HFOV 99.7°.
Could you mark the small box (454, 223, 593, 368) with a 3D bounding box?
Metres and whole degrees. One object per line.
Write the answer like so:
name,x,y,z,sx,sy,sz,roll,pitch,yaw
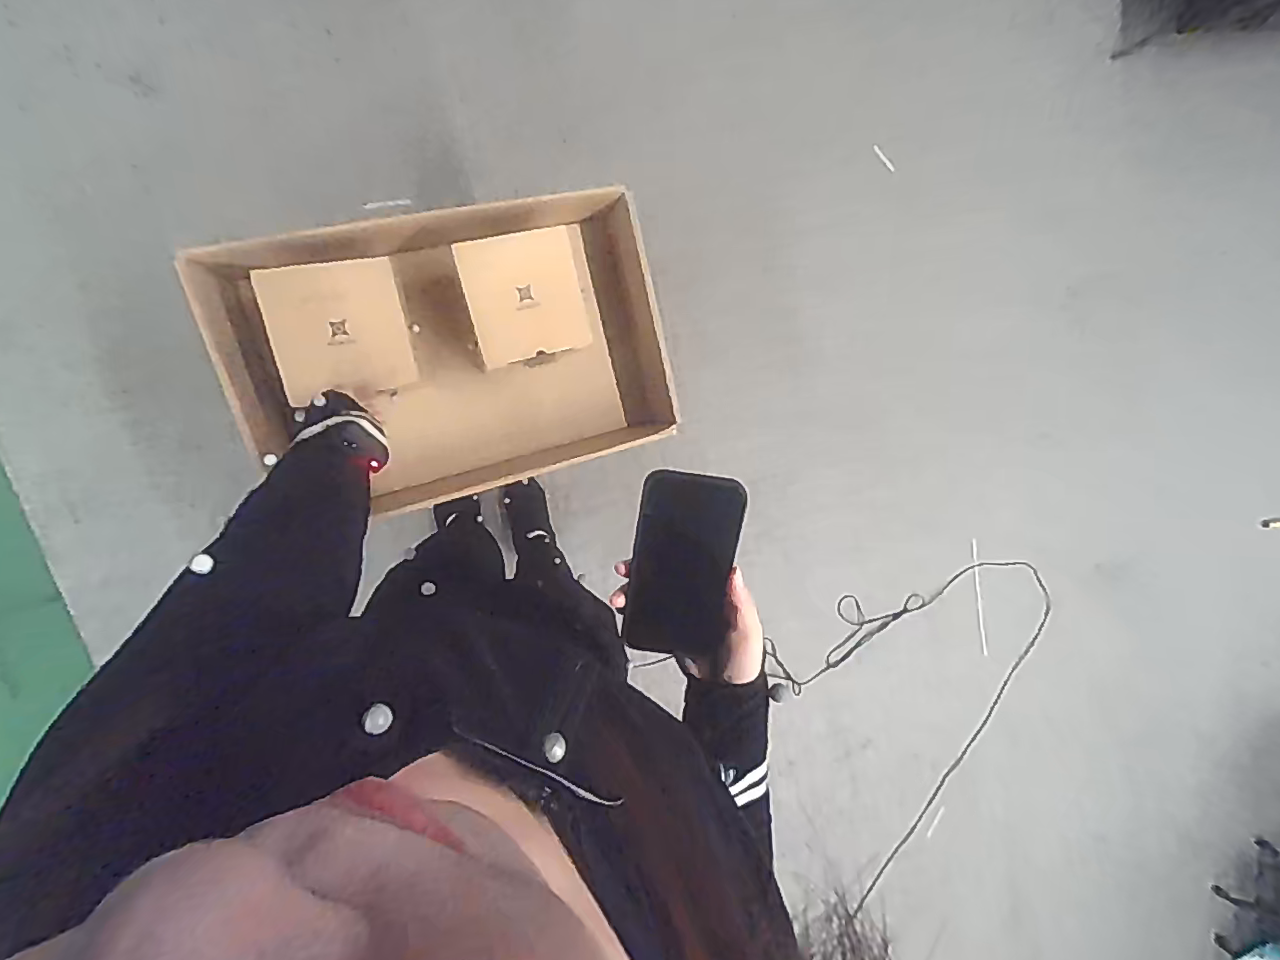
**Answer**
small box,-0.187,-0.280,0.851,0.168,0.176,0.179,-16,105,-13
